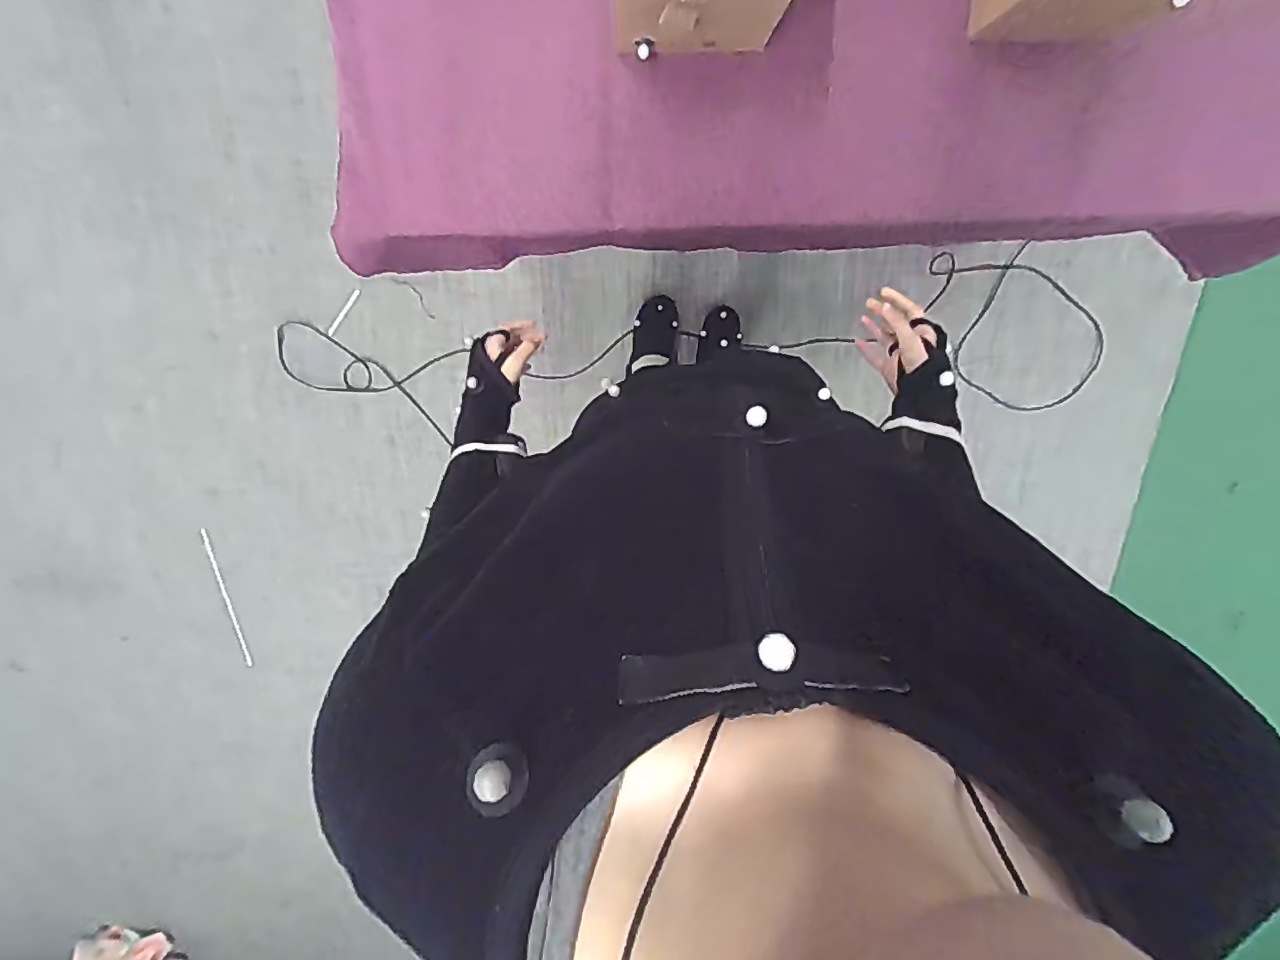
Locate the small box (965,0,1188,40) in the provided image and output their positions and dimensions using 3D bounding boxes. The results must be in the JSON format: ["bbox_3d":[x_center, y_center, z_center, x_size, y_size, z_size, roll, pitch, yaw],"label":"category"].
[{"bbox_3d":[0.444,-0.536,0.494,0.179,0.176,0.168,-1,110,-1],"label":"small box"}]

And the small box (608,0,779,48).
[{"bbox_3d":[0.051,-0.524,0.490,0.168,0.176,0.179,-2,109,-1],"label":"small box"}]
